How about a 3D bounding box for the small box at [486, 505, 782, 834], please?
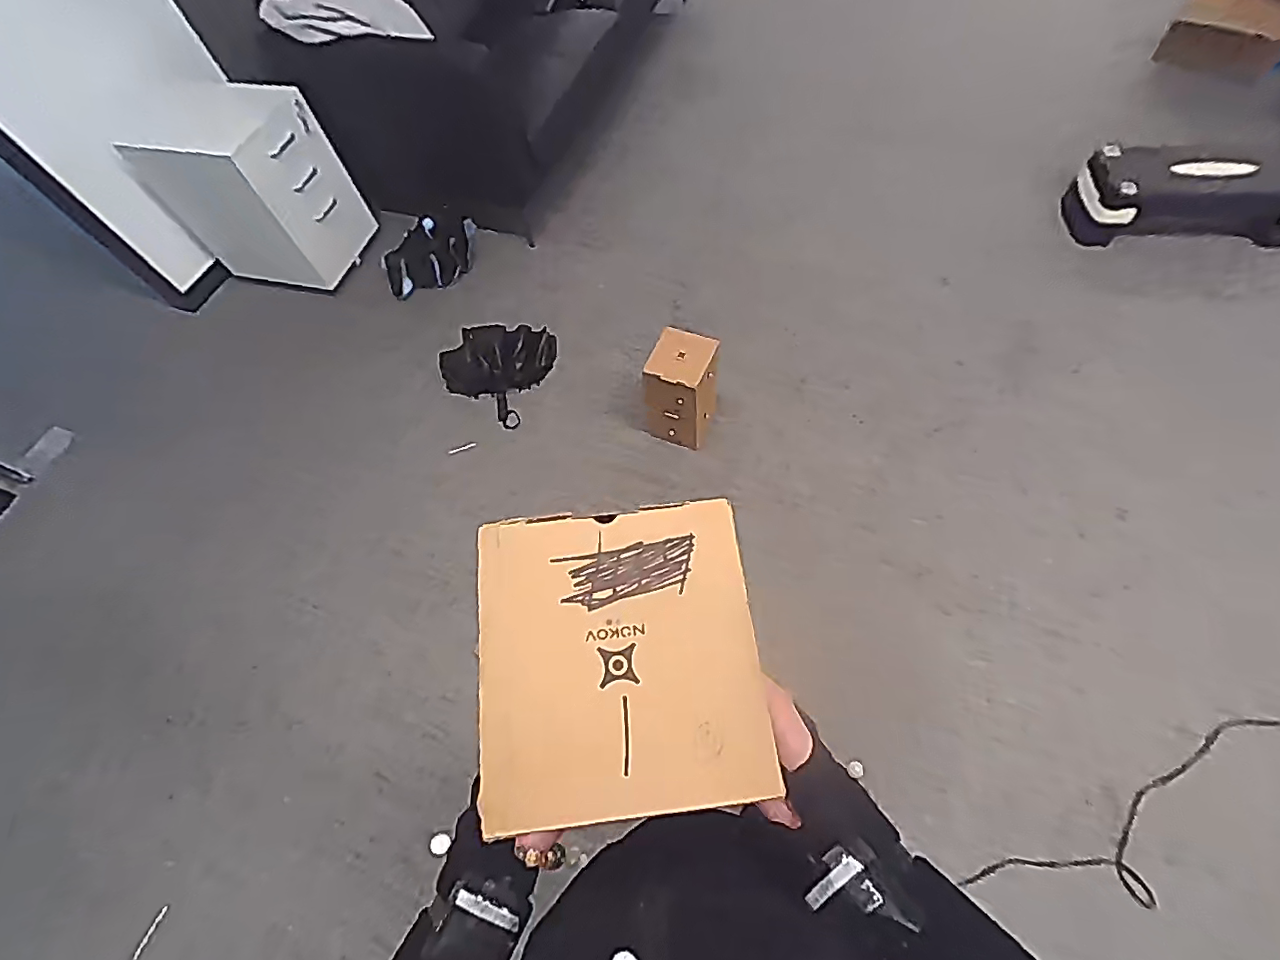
[{"bbox_3d":[-0.012,0.133,0.399,0.168,0.176,0.179,-6,69,-3],"label":"small box"}]
